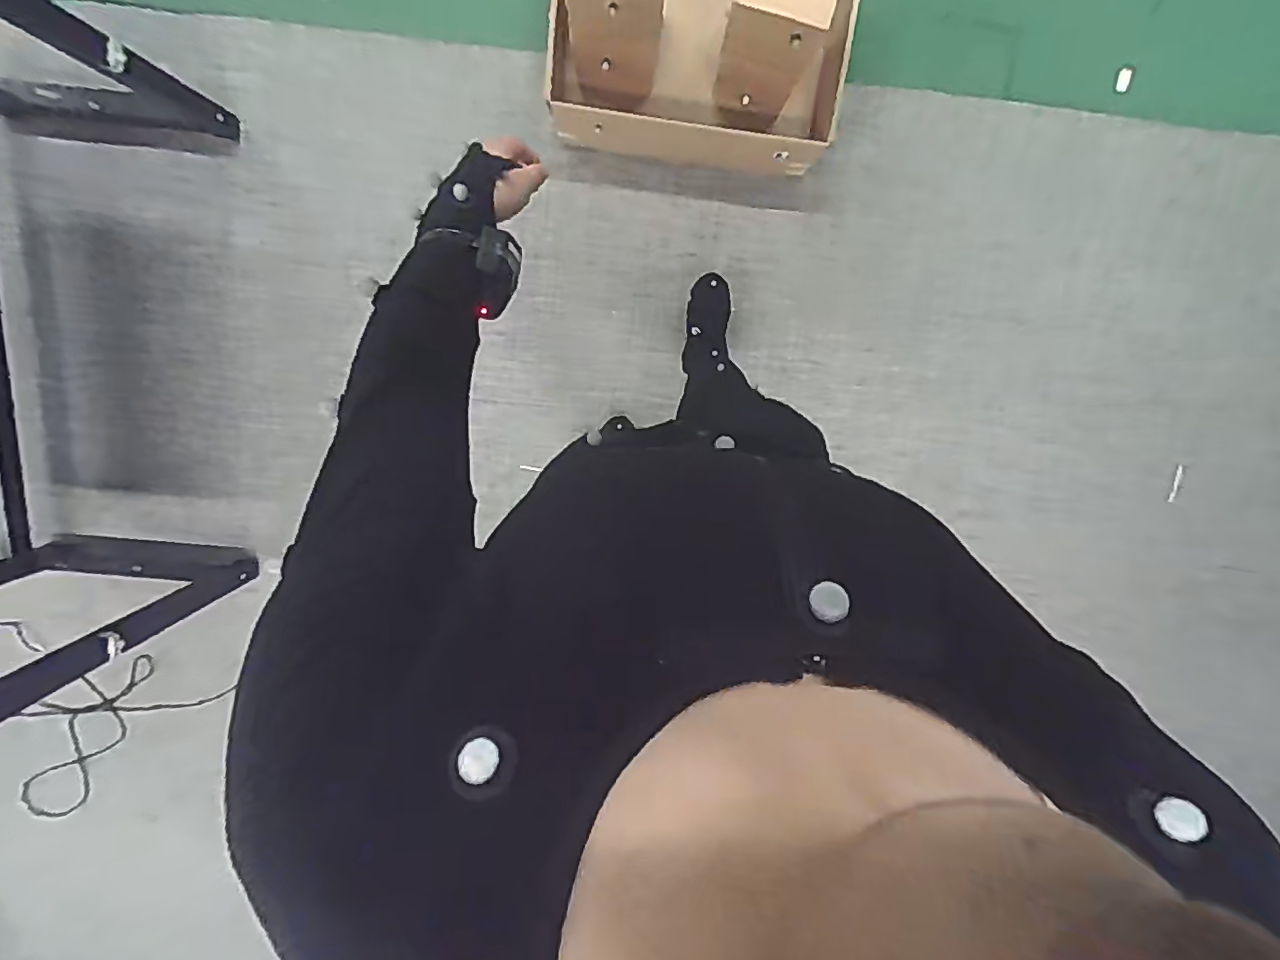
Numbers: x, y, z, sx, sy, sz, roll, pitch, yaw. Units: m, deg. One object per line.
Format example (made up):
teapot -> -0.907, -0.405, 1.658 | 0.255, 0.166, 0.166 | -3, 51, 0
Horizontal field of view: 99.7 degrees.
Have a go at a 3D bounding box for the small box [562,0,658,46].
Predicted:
small box -> -0.057, -0.920, 0.974 | 0.179, 0.176, 0.168 | -3, 104, -3

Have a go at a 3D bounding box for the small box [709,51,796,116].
small box -> 0.252, -0.923, 1.150 | 0.168, 0.176, 0.179 | 13, 103, -3

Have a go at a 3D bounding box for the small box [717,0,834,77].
small box -> 0.254, -0.883, 0.990 | 0.179, 0.176, 0.168 | 14, 102, -3
